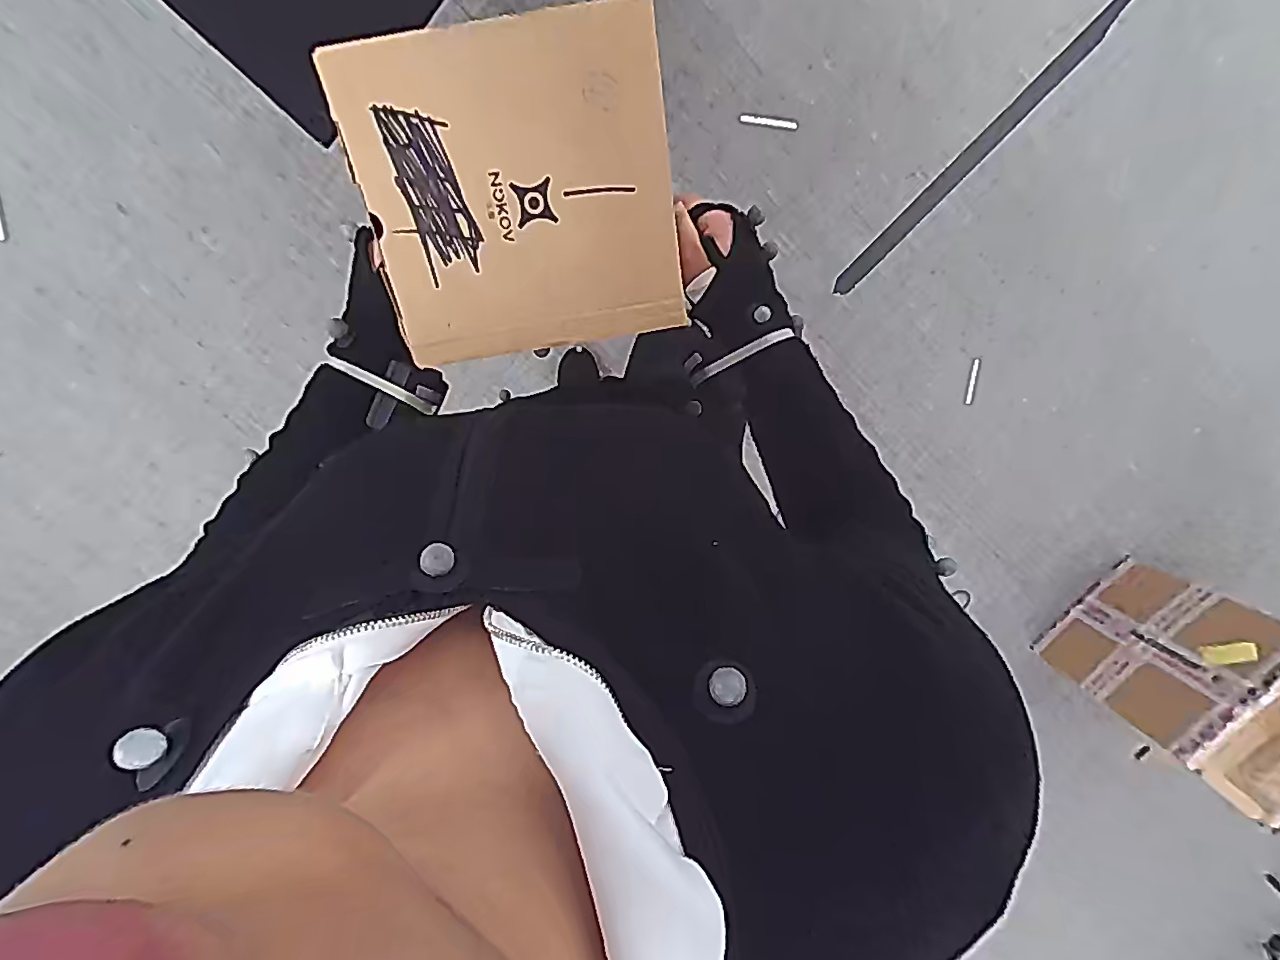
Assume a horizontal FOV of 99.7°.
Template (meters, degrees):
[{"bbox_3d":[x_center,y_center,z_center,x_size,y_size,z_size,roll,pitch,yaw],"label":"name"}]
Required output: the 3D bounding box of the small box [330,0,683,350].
[{"bbox_3d":[-0.070,-0.200,0.385,0.179,0.176,0.168,-8,116,1],"label":"small box"}]

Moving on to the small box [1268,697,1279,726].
[{"bbox_3d":[1.507,0.527,1.124,0.179,0.176,0.168,42,97,-7],"label":"small box"}]
